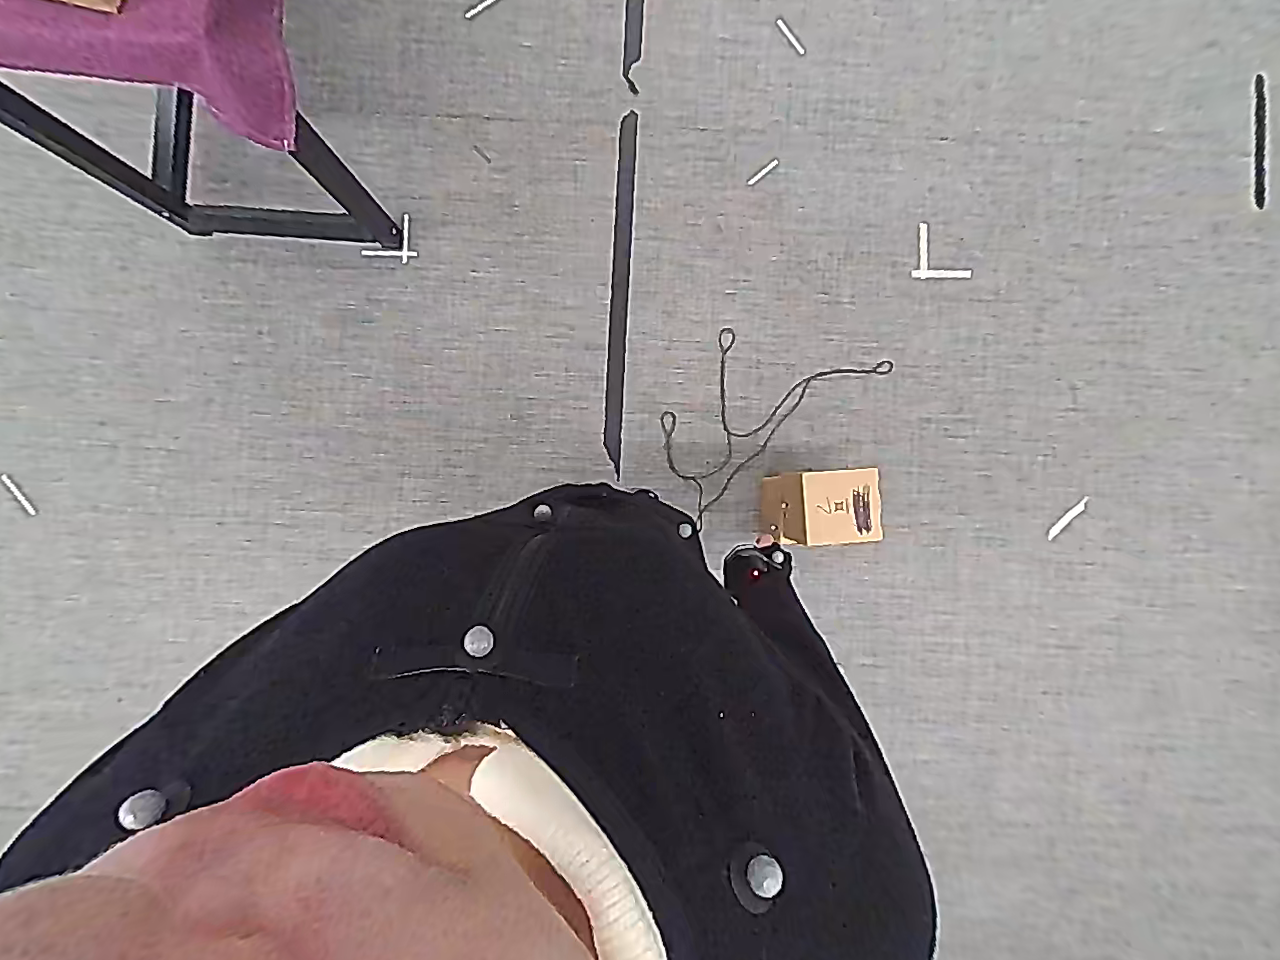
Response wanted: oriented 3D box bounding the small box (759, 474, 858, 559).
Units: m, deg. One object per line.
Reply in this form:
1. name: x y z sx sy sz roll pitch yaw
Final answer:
1. small box: 0.432 0.092 1.402 0.179 0.176 0.168 -5 109 -19
